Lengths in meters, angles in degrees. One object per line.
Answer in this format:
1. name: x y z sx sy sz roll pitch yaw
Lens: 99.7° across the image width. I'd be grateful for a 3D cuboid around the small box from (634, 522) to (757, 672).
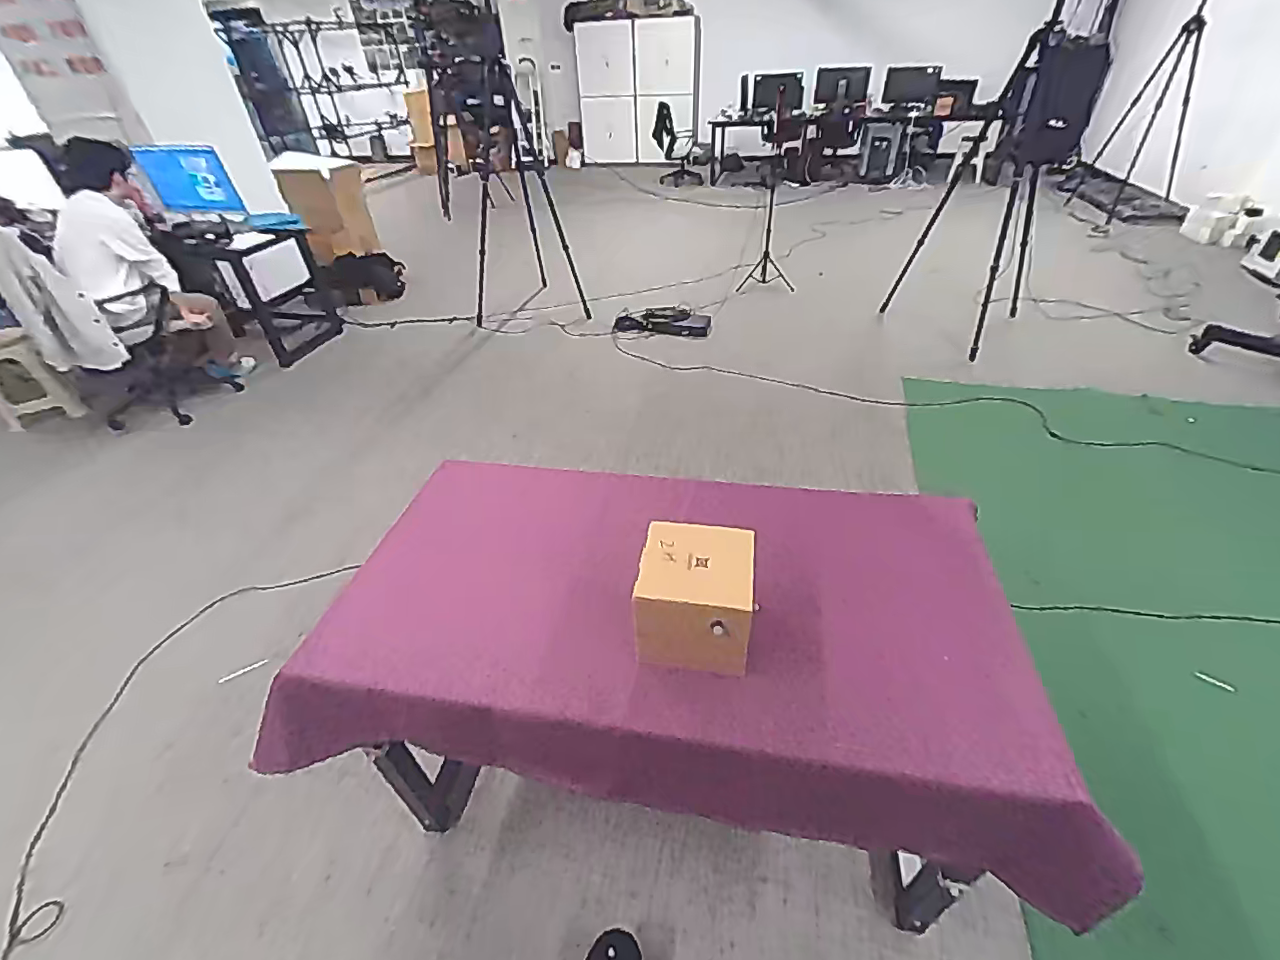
1. small box: 0.094 0.191 0.885 0.179 0.176 0.168 4 39 10
